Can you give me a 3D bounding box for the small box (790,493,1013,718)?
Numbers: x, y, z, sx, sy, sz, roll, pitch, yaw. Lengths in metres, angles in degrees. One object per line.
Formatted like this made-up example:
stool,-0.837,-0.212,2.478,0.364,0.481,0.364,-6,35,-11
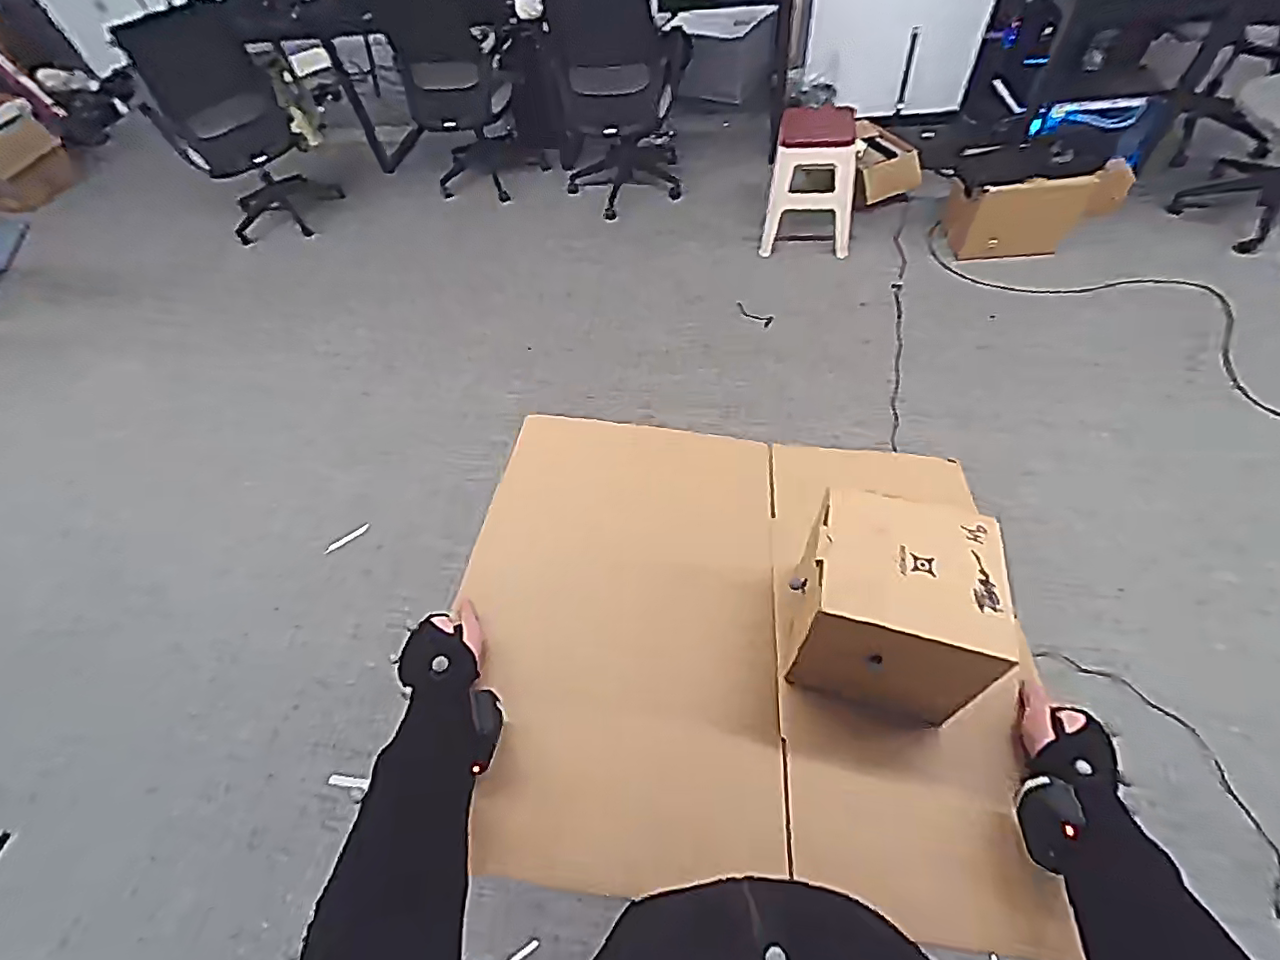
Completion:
small box,0.275,0.143,0.606,0.179,0.176,0.168,12,50,13
